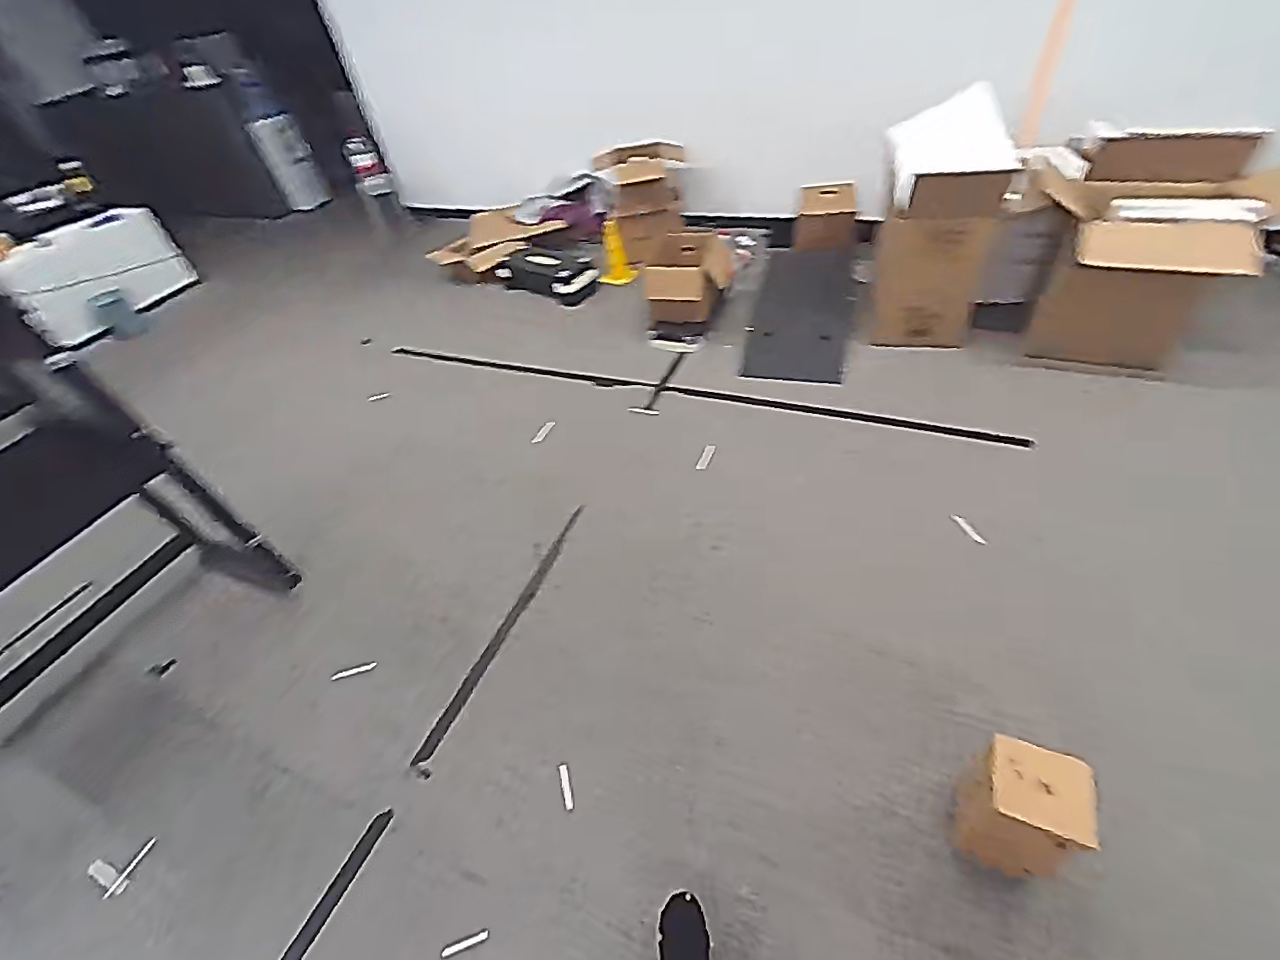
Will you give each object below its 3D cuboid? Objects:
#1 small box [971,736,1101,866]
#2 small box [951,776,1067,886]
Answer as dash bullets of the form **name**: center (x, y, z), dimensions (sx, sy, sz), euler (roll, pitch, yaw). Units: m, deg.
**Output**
- **small box**: center (0.828, 0.683, 1.145), dimensions (0.179, 0.176, 0.168), euler (14, 48, 23)
- **small box**: center (0.849, 0.805, 1.253), dimensions (0.179, 0.176, 0.168), euler (15, 49, 23)
